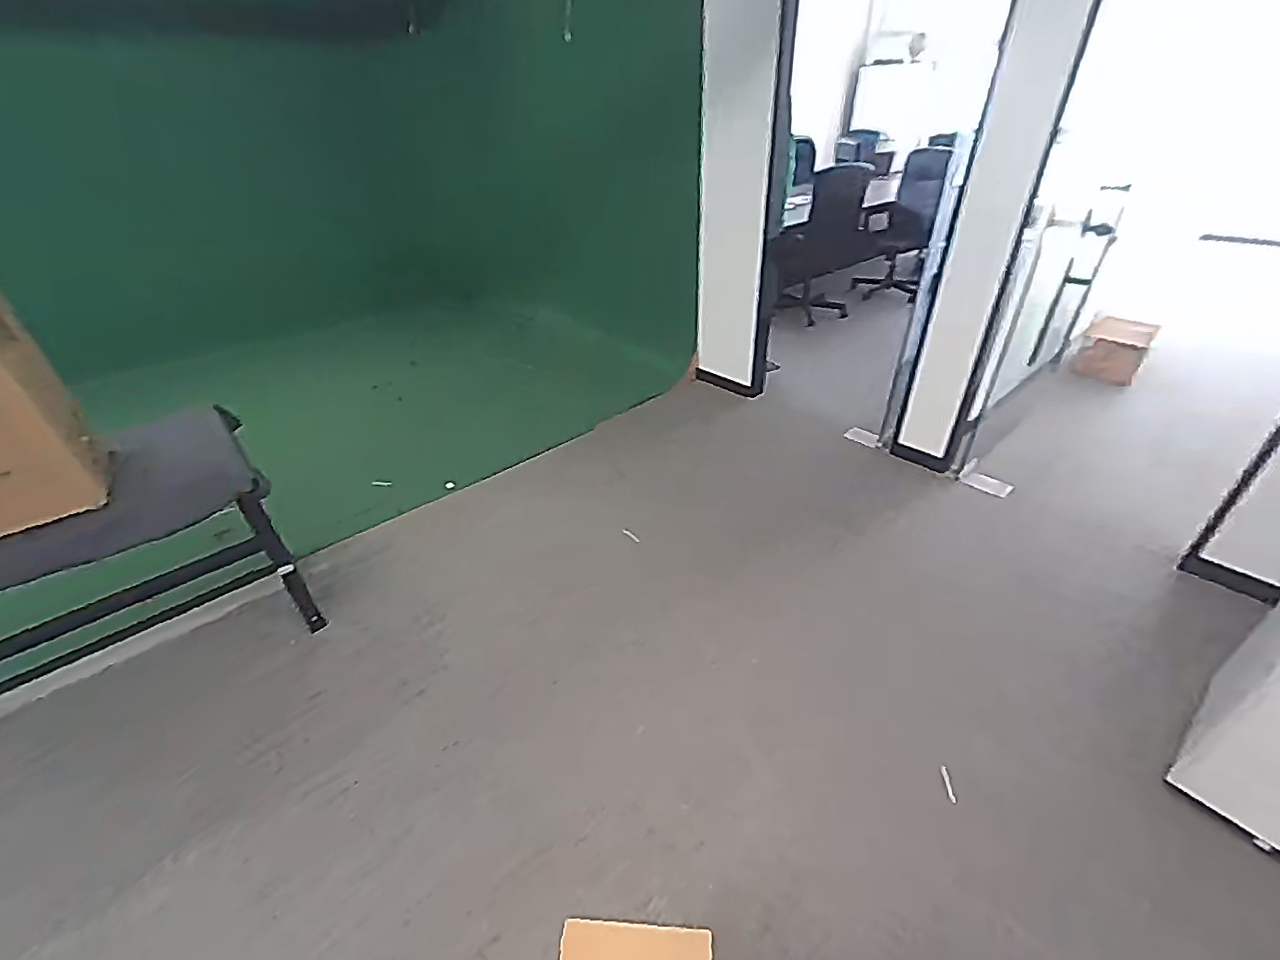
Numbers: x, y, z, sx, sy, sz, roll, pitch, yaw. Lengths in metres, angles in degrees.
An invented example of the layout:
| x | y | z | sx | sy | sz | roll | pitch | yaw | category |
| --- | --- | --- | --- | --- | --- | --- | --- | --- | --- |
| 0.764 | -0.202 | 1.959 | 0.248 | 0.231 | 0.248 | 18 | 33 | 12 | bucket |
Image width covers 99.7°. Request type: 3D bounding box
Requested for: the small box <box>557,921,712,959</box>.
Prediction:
| x | y | z | sx | sy | sz | roll | pitch | yaw | category |
| --- | --- | --- | --- | --- | --- | --- | --- | --- | --- |
| -0.008 | 0.631 | 0.602 | 0.179 | 0.176 | 0.168 | 1 | 33 | 5 | small box |
